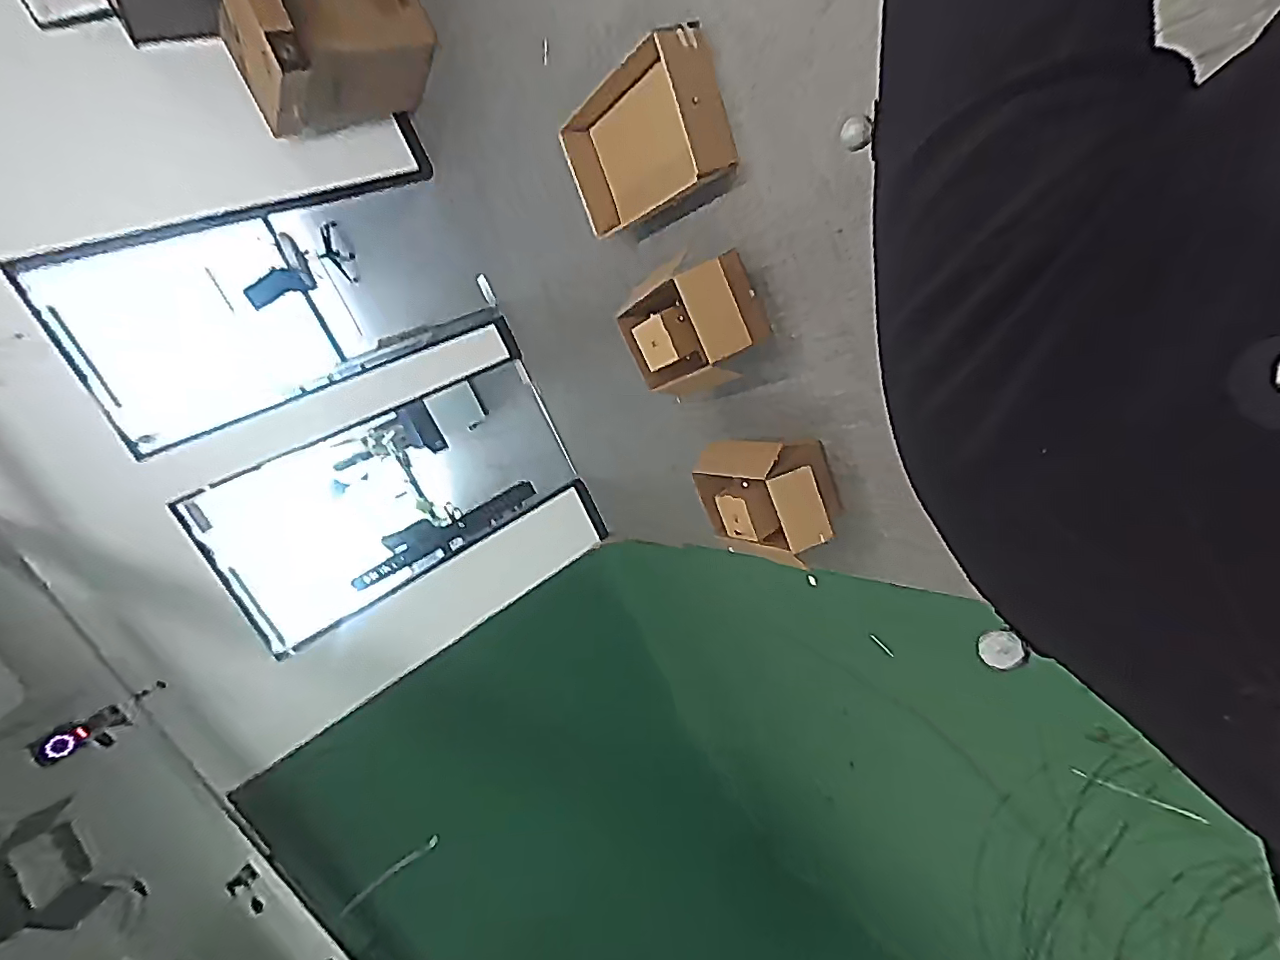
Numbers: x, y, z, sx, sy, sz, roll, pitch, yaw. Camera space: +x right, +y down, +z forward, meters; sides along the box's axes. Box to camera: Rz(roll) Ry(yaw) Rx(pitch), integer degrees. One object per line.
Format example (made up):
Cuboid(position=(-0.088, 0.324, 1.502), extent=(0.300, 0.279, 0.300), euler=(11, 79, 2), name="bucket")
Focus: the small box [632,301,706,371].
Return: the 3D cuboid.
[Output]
Cuboid(position=(0.108, -0.507, 1.893), extent=(0.179, 0.176, 0.168), euler=(-9, 109, 58), name="small box")
